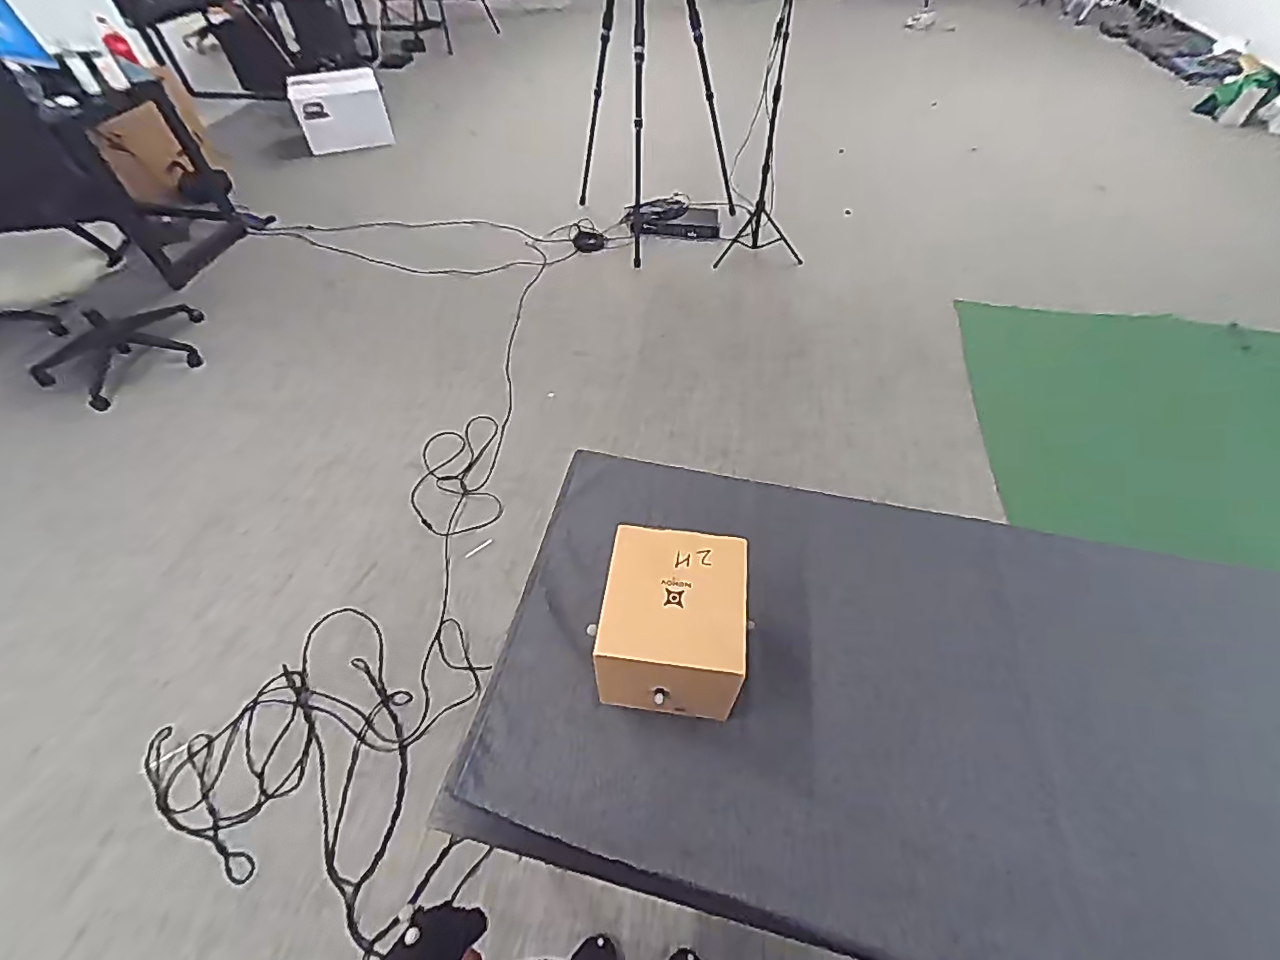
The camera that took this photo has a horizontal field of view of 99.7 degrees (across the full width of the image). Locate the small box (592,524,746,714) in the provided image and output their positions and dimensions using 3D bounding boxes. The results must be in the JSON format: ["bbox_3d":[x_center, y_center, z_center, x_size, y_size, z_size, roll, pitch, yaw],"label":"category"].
[{"bbox_3d":[0.040,0.181,0.691,0.168,0.176,0.179,6,50,5],"label":"small box"}]
